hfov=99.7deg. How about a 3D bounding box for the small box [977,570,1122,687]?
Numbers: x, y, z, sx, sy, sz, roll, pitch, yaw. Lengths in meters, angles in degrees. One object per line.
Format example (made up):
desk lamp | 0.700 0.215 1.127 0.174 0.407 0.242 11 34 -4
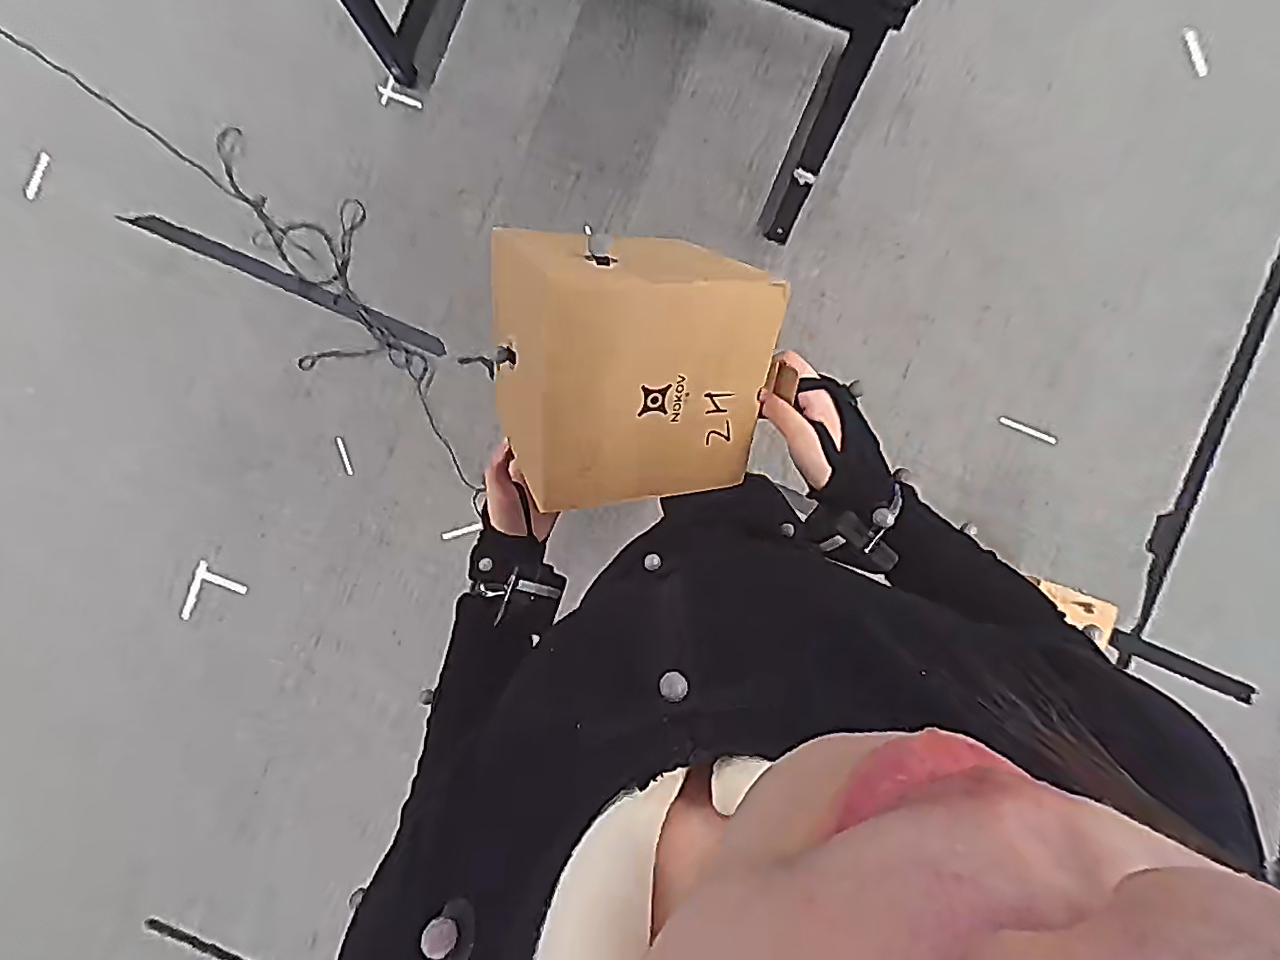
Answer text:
small box | 0.886 0.318 1.192 0.168 0.176 0.179 20 92 2

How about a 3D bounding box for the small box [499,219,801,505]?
small box | -0.012 -0.102 0.428 0.179 0.176 0.168 -8 125 -24

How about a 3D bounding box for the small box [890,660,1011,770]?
small box | 0.770 0.578 1.364 0.179 0.176 0.168 28 92 2
